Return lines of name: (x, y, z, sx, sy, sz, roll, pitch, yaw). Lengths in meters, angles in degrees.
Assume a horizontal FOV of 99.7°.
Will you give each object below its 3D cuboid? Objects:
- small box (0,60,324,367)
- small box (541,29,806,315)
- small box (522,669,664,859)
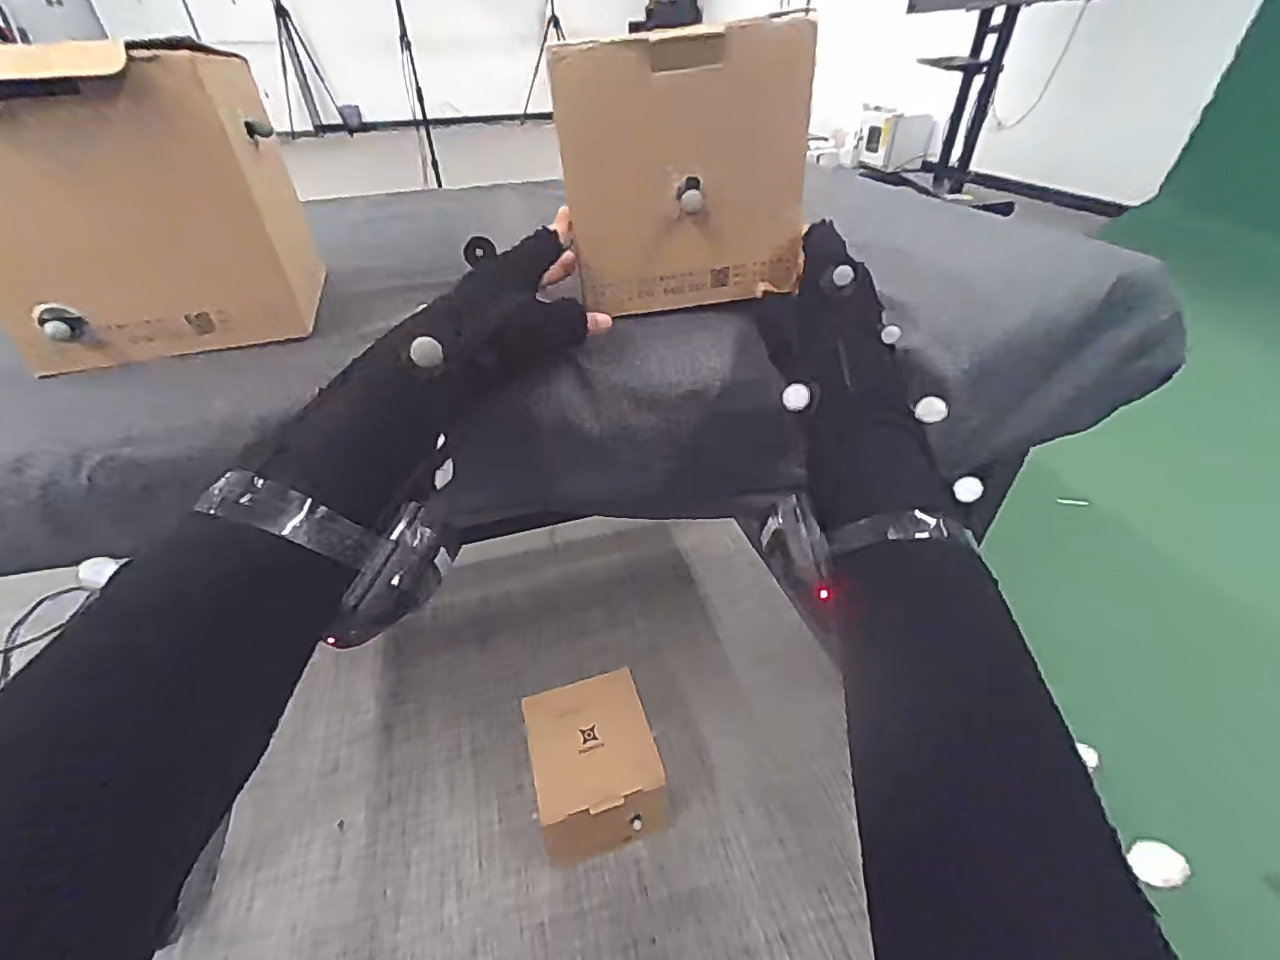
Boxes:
small box: (-0.351, -0.192, 0.392, 0.168, 0.176, 0.179, -14, 38, -16)
small box: (0.019, -0.242, 0.435, 0.168, 0.176, 0.179, -9, 39, -3)
small box: (-0.067, 0.417, 0.789, 0.168, 0.176, 0.179, -12, 38, -14)
